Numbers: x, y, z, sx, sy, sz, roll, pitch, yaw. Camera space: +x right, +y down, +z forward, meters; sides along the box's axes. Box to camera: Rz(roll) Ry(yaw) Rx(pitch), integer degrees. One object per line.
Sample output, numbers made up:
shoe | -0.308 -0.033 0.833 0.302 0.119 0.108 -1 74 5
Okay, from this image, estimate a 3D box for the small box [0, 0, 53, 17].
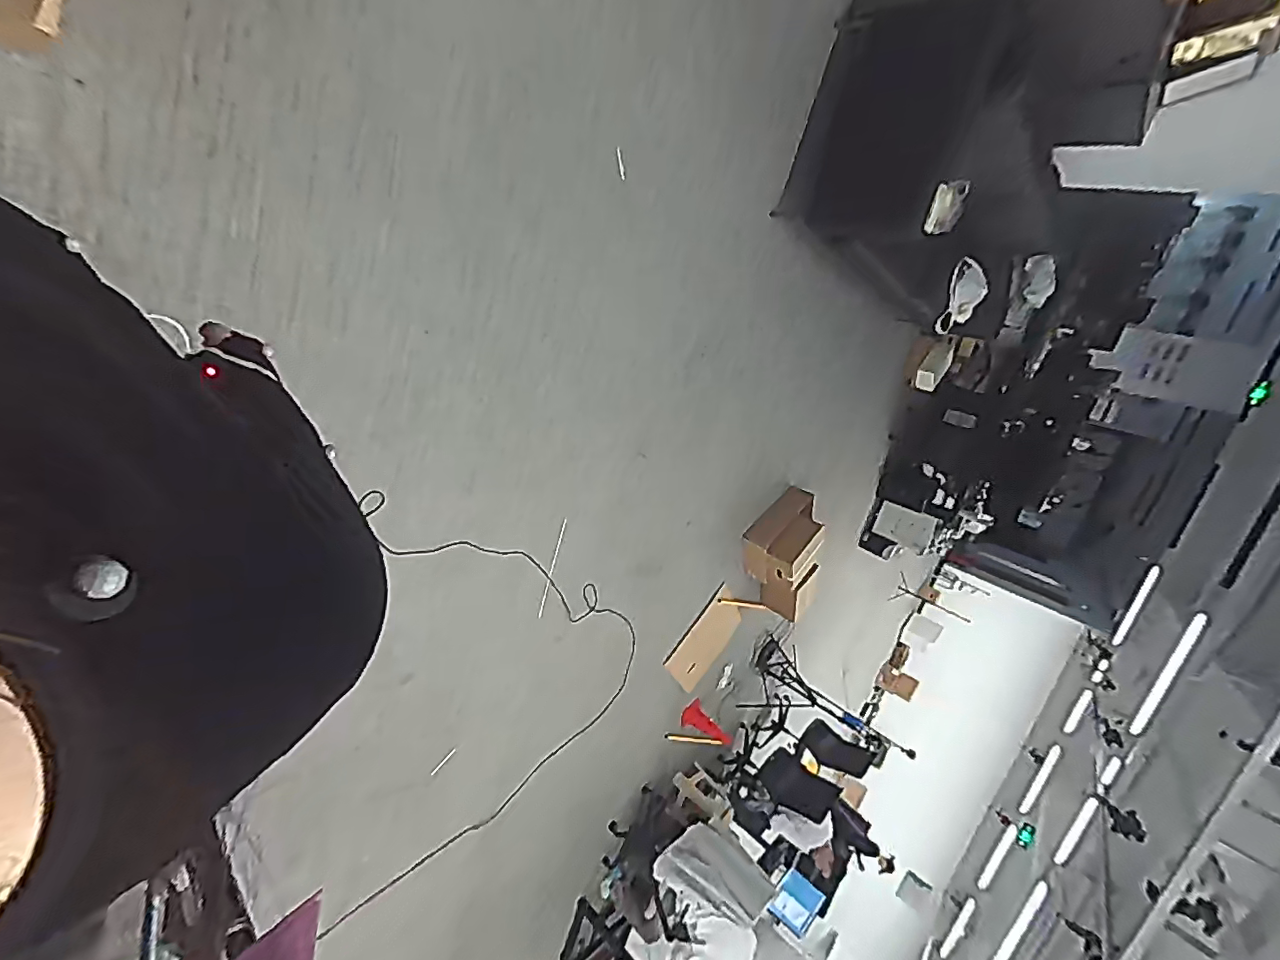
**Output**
small box | -0.632 -0.578 0.488 0.168 0.176 0.179 14 99 -53
